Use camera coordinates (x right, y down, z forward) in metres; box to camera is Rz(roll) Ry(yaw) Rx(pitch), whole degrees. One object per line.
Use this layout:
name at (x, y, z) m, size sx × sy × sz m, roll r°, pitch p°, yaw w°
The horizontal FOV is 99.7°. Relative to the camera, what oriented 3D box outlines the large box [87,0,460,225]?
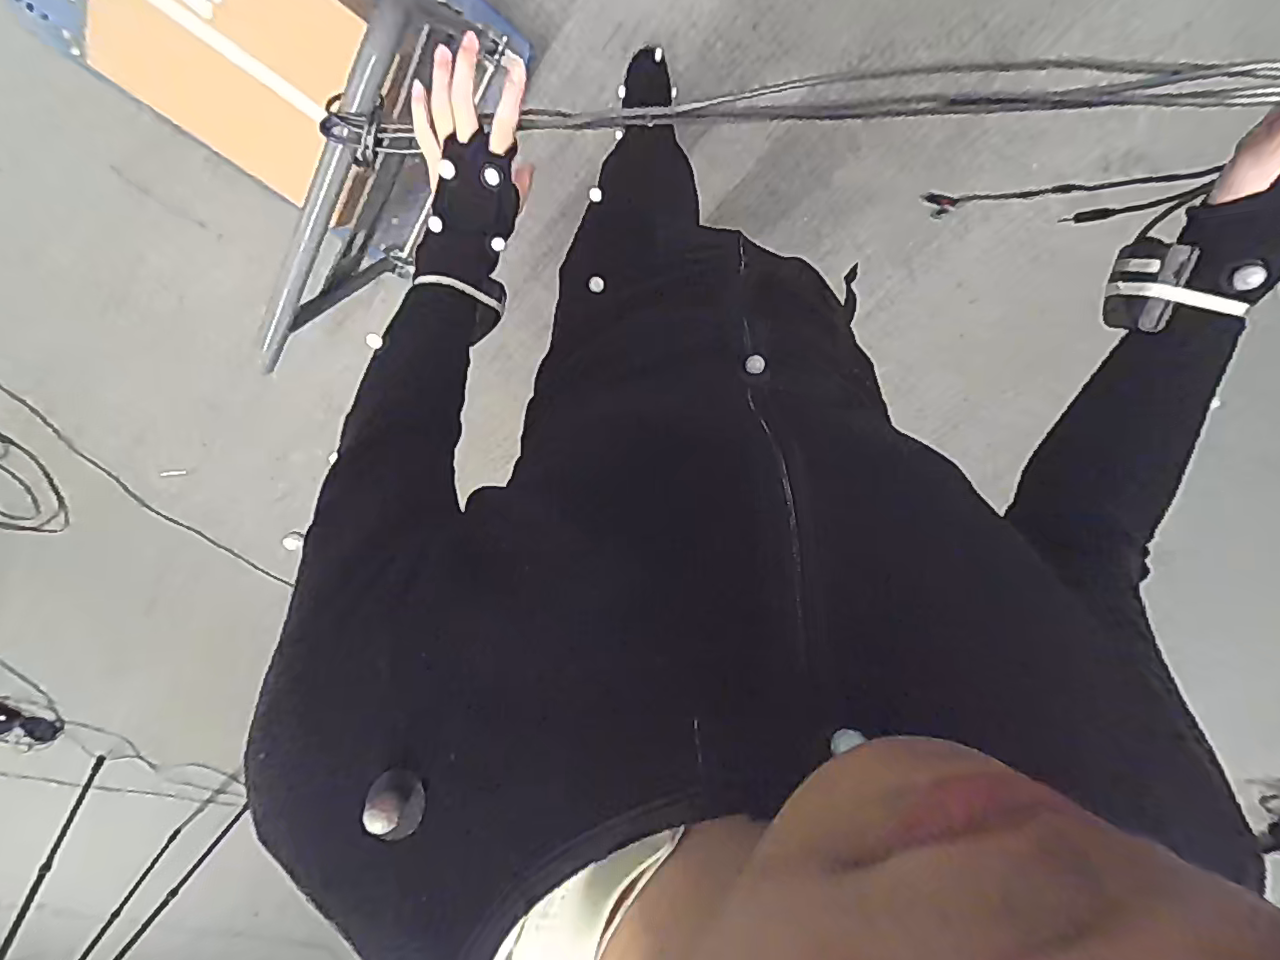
large box at (-0.600, -0.726, 0.947) m, size 0.408 × 0.320 × 0.320 m, roll 33°, pitch 118°, yaw -17°
